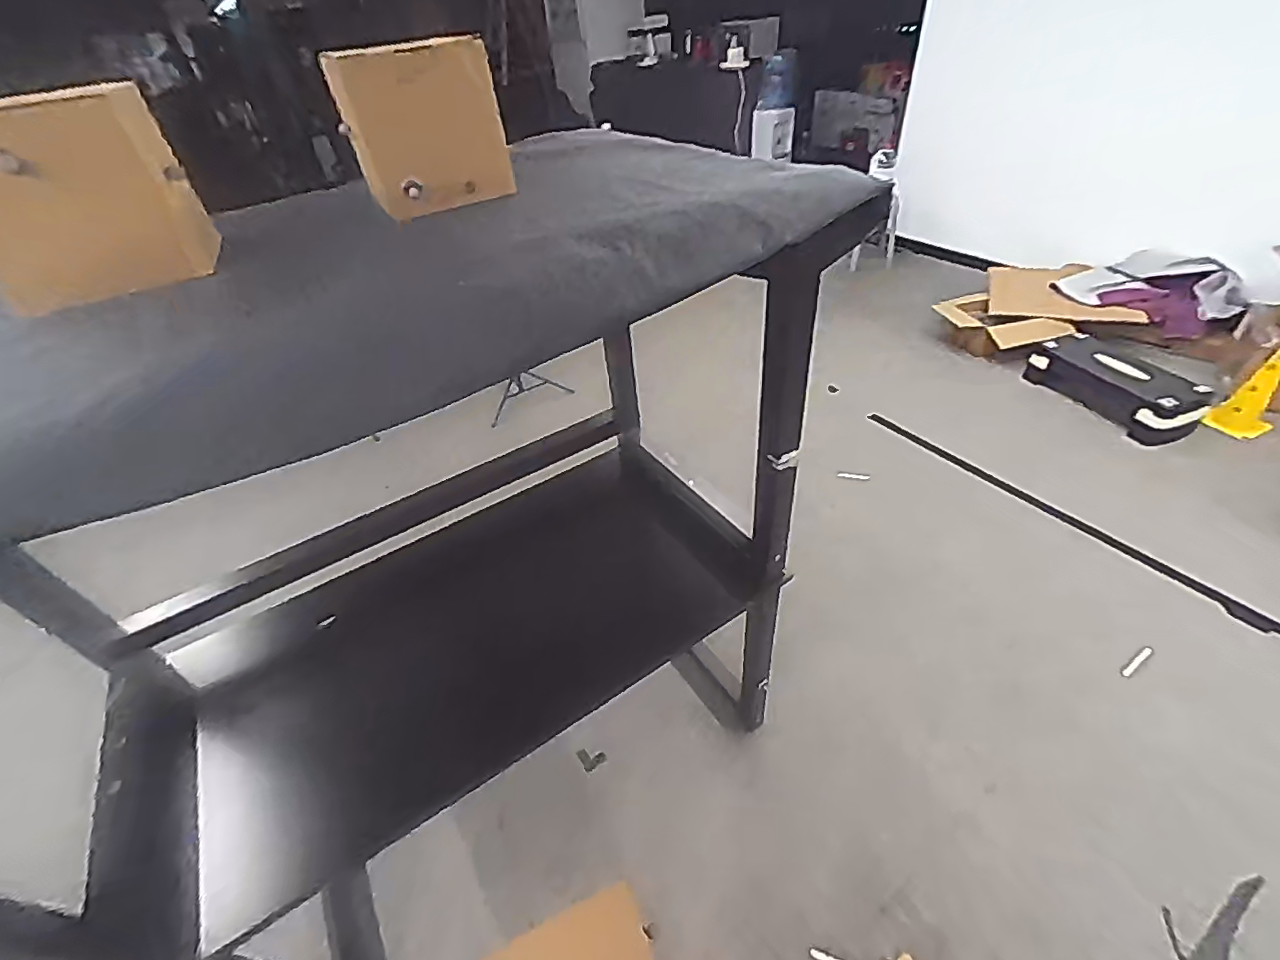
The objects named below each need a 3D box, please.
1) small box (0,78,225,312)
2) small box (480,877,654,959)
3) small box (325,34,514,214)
[{"bbox_3d":[-0.579,-0.301,0.568,0.179,0.176,0.168,-23,45,-17],"label":"small box"},{"bbox_3d":[-0.050,0.567,0.551,0.168,0.176,0.179,-20,35,-14],"label":"small box"},{"bbox_3d":[-0.282,-0.464,0.708,0.168,0.176,0.179,-24,44,-19],"label":"small box"}]
